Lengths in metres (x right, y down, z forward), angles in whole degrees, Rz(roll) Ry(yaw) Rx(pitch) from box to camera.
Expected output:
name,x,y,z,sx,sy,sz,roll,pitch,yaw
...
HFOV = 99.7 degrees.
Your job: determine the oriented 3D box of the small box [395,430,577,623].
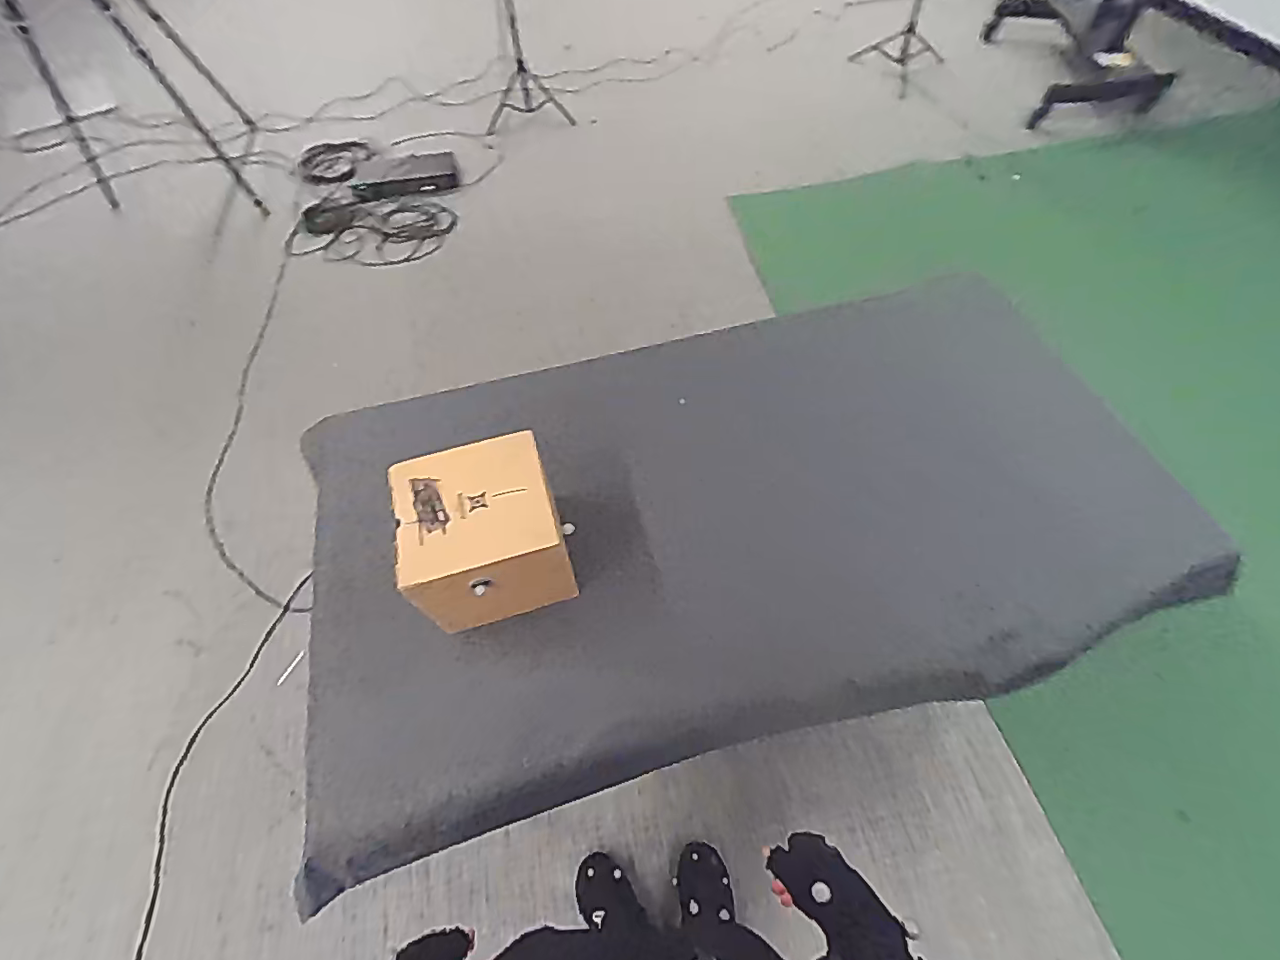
name,x,y,z,sx,sy,sz,roll,pitch,yaw
small box,-0.190,0.066,0.692,0.179,0.176,0.168,-15,60,-8
